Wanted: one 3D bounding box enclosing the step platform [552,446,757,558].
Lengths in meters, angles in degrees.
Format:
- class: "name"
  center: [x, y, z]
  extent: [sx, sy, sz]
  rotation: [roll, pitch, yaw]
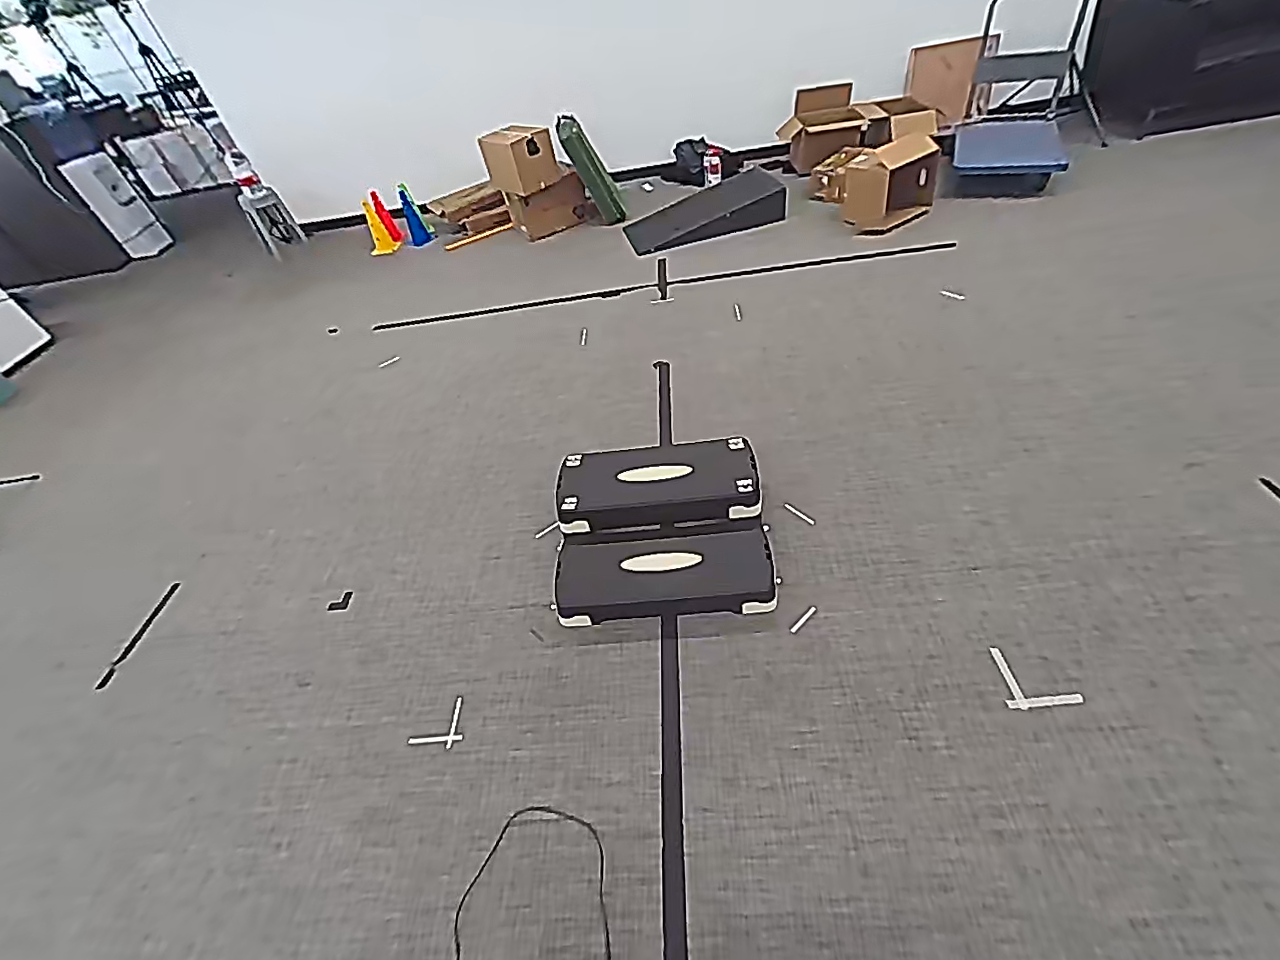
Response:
- class: "step platform"
  center: [0.047, 0.070, 1.833]
  extent: [0.684, 0.204, 0.286]
  rotation: [-6, 46, 5]
